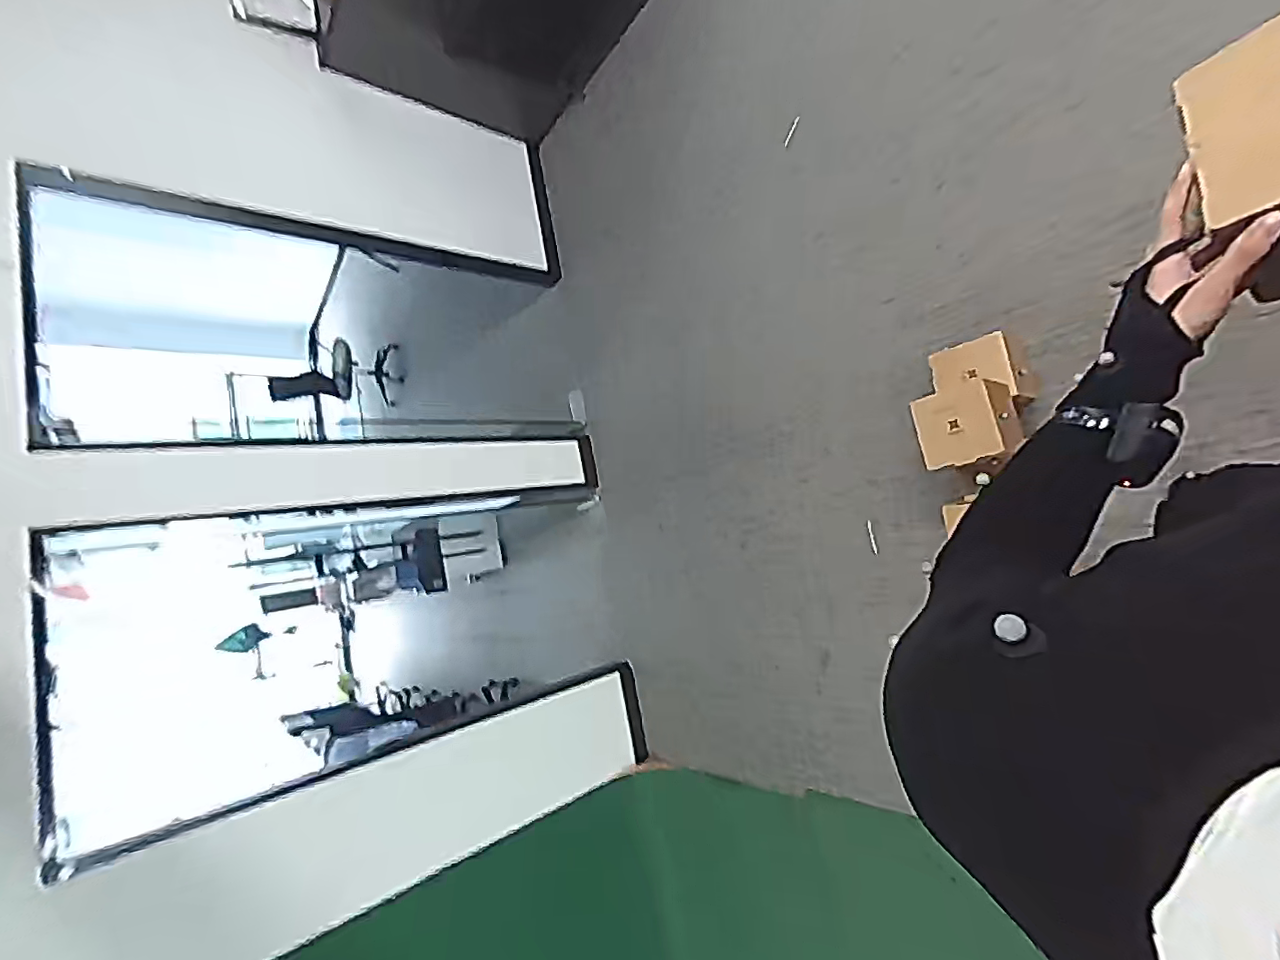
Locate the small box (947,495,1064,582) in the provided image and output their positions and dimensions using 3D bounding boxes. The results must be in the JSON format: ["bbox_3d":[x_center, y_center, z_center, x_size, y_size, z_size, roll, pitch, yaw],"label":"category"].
[{"bbox_3d":[0.837,0.131,1.238,0.168,0.176,0.179,-17,81,50],"label":"small box"}]

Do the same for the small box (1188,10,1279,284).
[{"bbox_3d":[0.589,-0.285,0.424,0.179,0.176,0.168,-18,63,56],"label":"small box"}]

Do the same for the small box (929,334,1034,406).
[{"bbox_3d":[0.890,-0.261,1.401,0.179,0.176,0.168,-20,79,49],"label":"small box"}]

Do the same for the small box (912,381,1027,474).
[{"bbox_3d":[0.784,-0.120,1.283,0.168,0.176,0.179,-22,75,48],"label":"small box"}]
